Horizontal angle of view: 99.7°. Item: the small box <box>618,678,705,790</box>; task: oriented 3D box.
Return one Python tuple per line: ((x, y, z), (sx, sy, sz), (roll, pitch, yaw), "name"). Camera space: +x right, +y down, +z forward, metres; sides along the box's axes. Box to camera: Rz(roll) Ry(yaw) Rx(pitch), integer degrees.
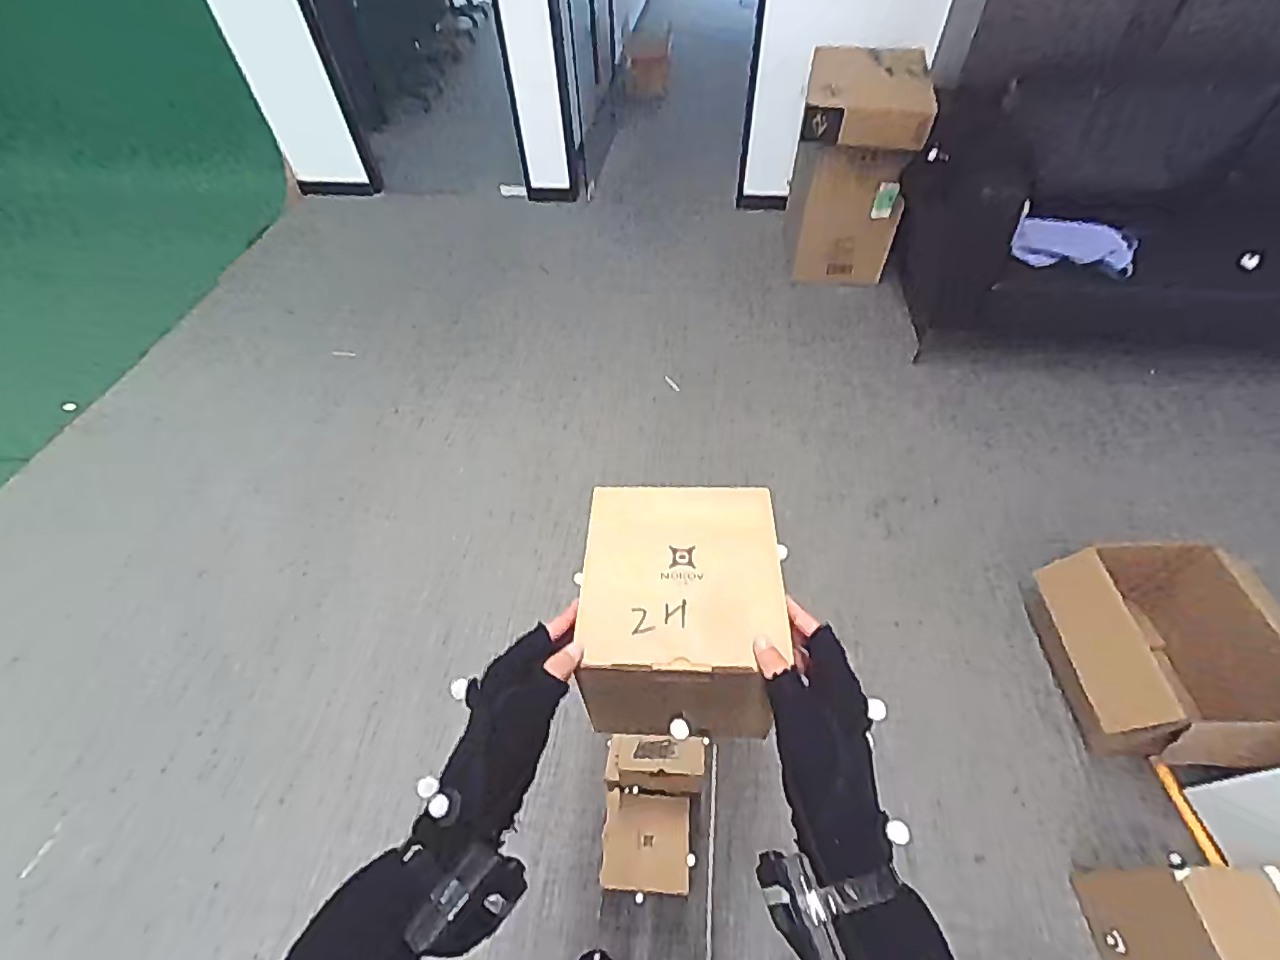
((0.048, 0.533, 1.127), (0.168, 0.176, 0.179), (3, 50, 3), "small box")
